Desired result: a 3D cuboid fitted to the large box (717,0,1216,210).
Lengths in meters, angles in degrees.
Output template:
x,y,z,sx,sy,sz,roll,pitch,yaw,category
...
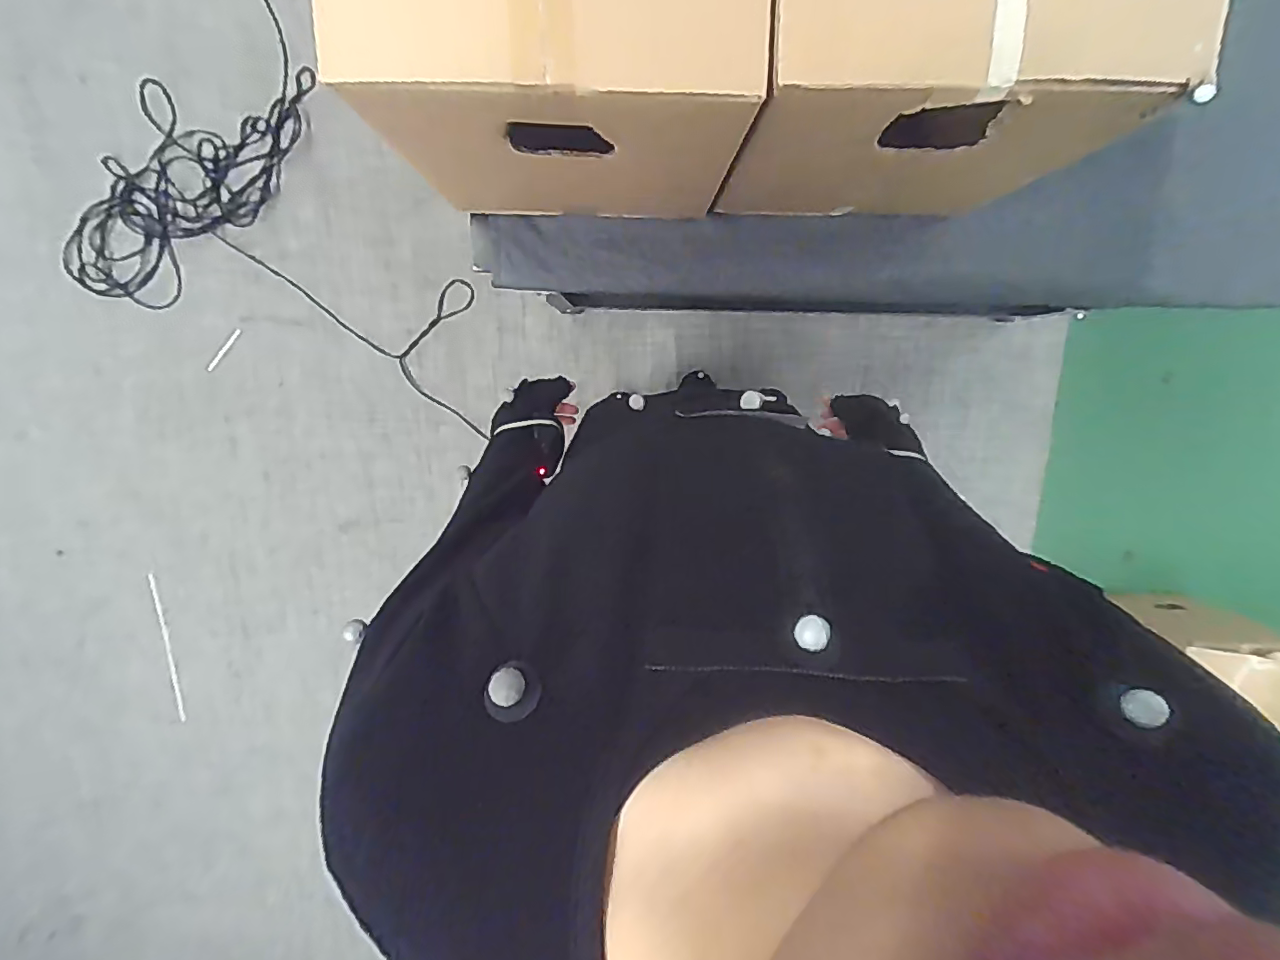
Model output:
x,y,z,sx,sy,sz,roll,pitch,yaw,category
0.246,-0.503,0.491,0.320,0.320,0.408,0,102,0,large box
